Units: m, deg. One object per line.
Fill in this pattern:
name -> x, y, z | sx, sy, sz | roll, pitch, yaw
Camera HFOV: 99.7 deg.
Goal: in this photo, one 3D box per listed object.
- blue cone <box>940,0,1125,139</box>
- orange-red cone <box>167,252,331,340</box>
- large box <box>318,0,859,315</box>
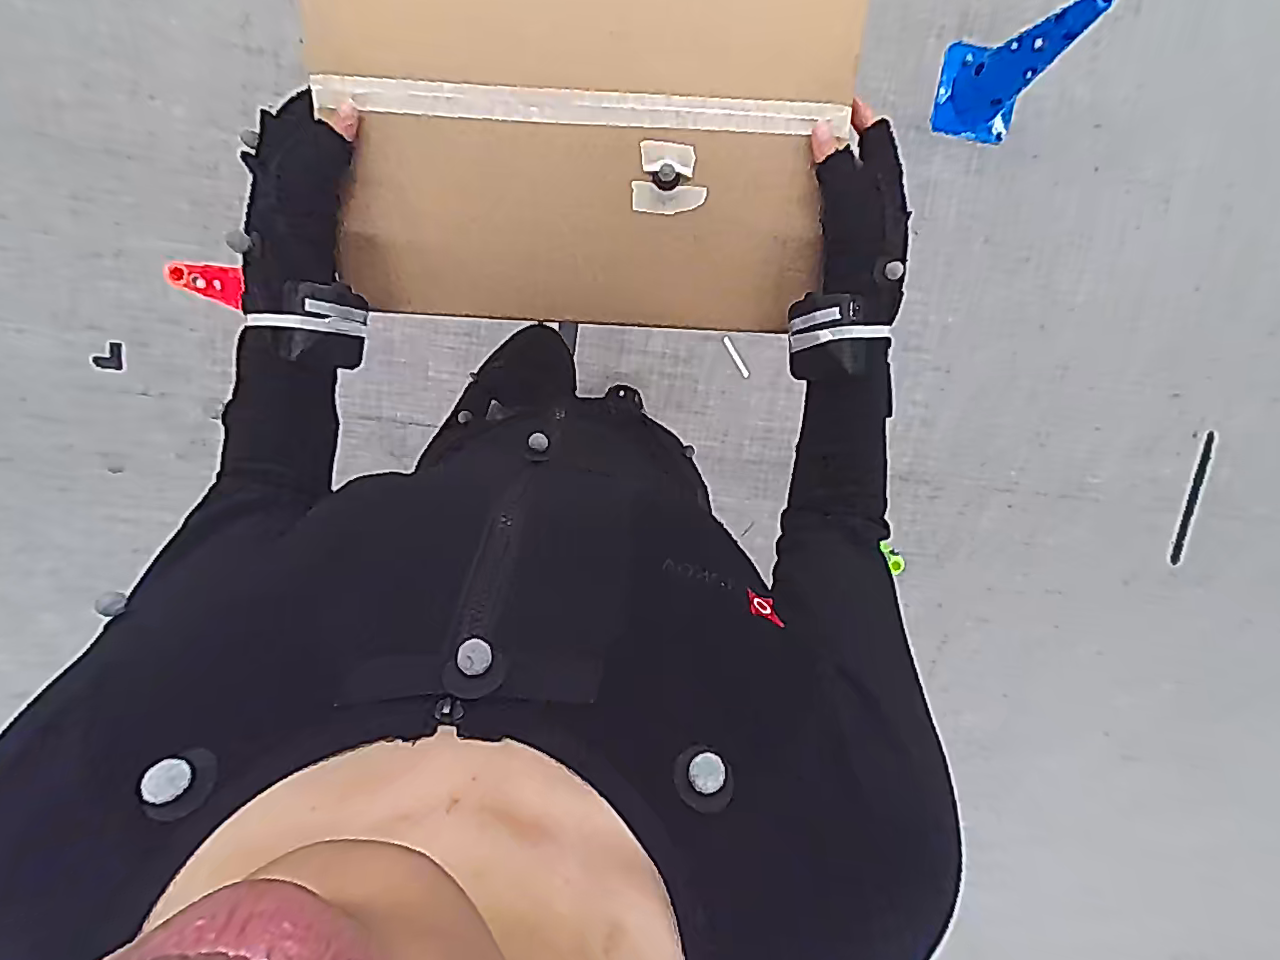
blue cone -> 0.853, -0.923, 1.172 | 0.192, 0.380, 0.193 | 10, 101, -6
orange-red cone -> -0.864, -0.417, 1.175 | 0.198, 0.360, 0.199 | 5, 102, -3
large box -> -0.043, -0.343, 0.555 | 0.408, 0.320, 0.320 | 2, 111, -2
